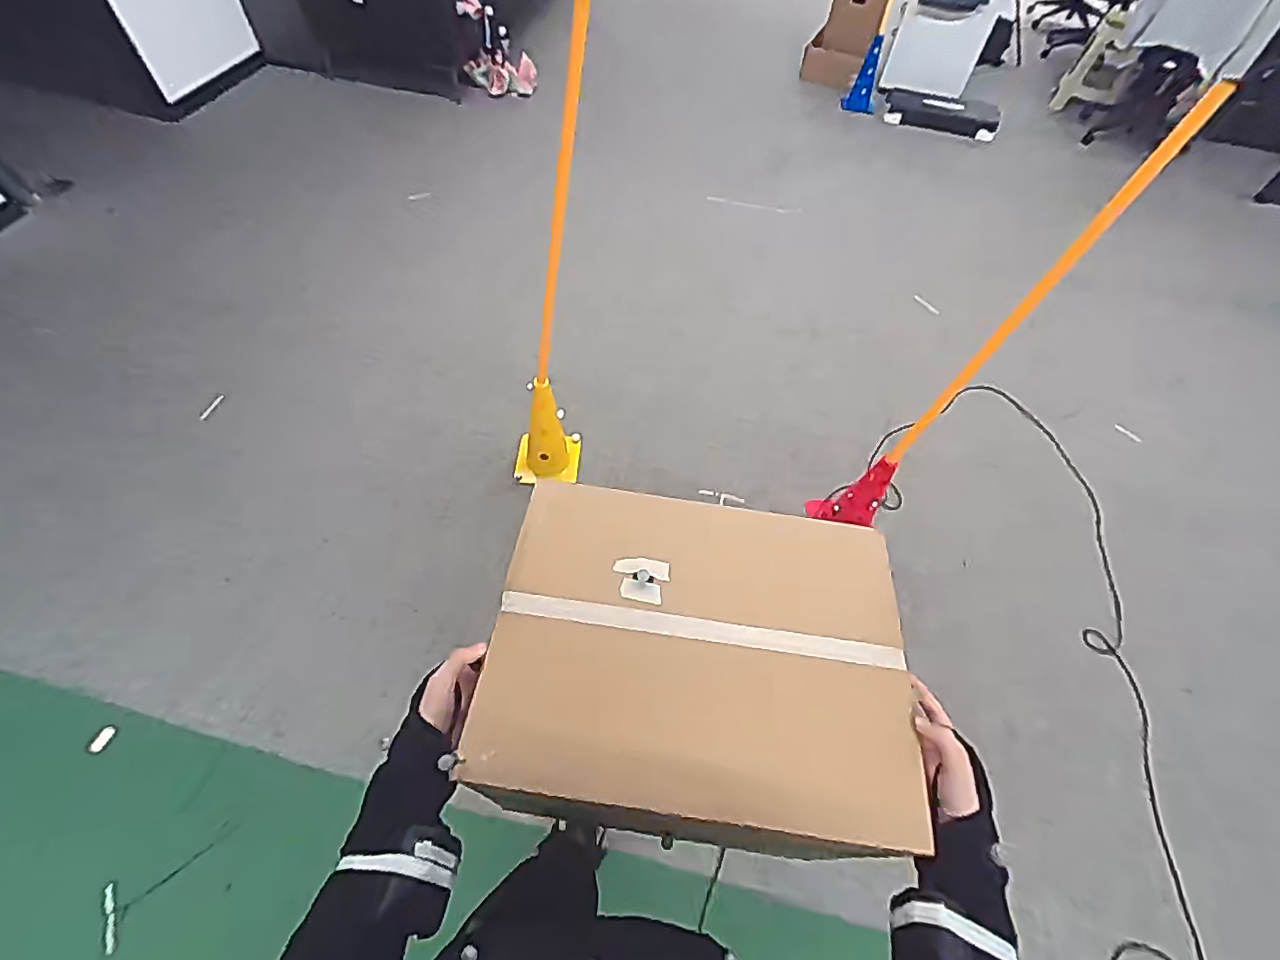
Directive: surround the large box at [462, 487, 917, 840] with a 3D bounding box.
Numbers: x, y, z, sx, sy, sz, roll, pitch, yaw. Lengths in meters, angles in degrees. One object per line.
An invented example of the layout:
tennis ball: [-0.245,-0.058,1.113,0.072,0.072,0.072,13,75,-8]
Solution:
large box: [0.052,0.240,0.669,0.408,0.320,0.320,8,54,2]
